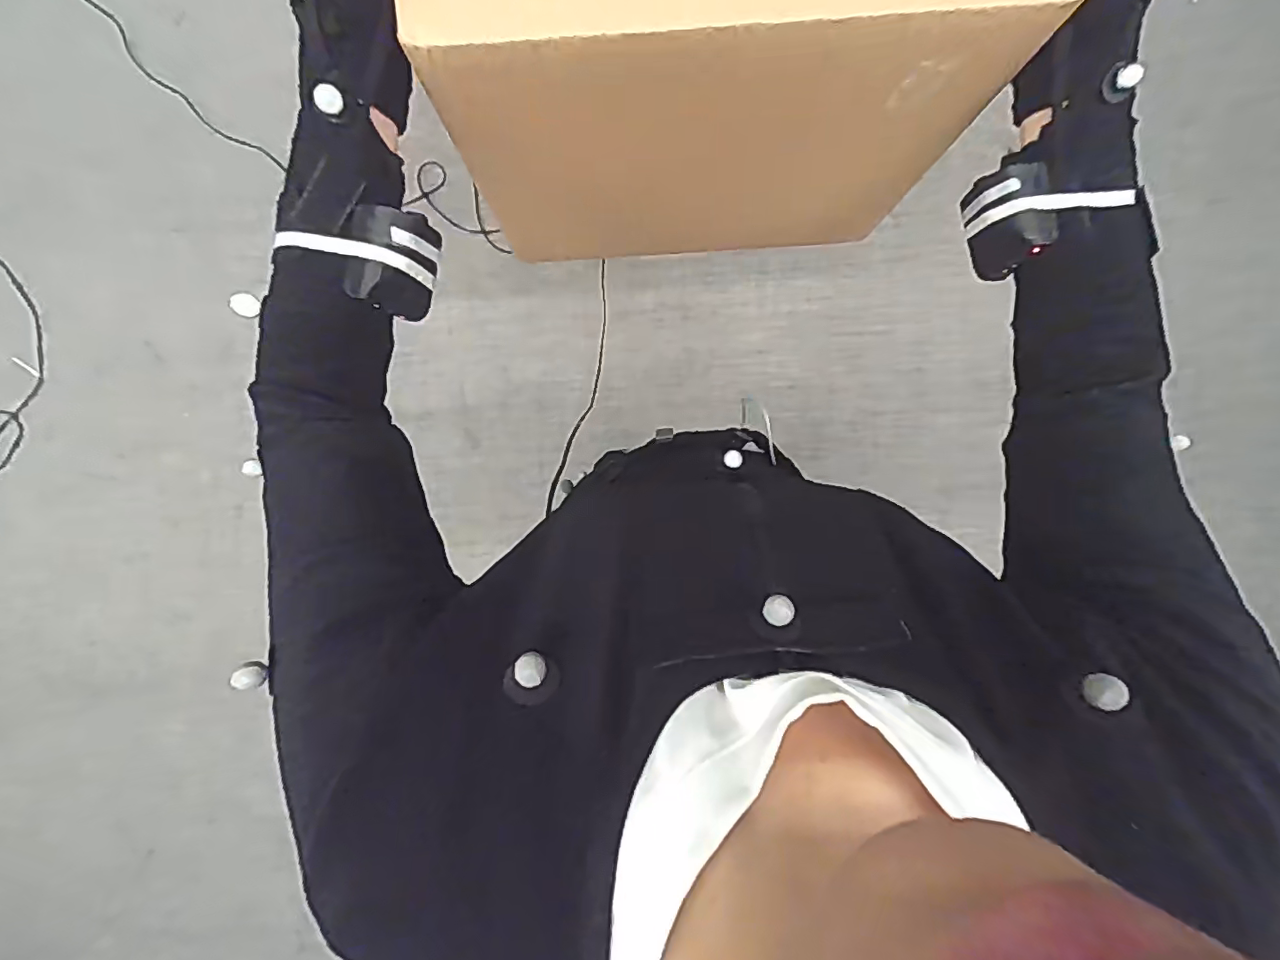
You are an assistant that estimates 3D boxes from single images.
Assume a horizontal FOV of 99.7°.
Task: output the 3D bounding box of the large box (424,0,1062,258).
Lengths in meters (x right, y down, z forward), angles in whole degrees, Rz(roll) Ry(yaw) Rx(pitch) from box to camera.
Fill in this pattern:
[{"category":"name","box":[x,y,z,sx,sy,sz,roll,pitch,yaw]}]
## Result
[{"category":"large box","box":[0.050,-0.423,0.478,0.408,0.320,0.320,-5,90,-1]}]
